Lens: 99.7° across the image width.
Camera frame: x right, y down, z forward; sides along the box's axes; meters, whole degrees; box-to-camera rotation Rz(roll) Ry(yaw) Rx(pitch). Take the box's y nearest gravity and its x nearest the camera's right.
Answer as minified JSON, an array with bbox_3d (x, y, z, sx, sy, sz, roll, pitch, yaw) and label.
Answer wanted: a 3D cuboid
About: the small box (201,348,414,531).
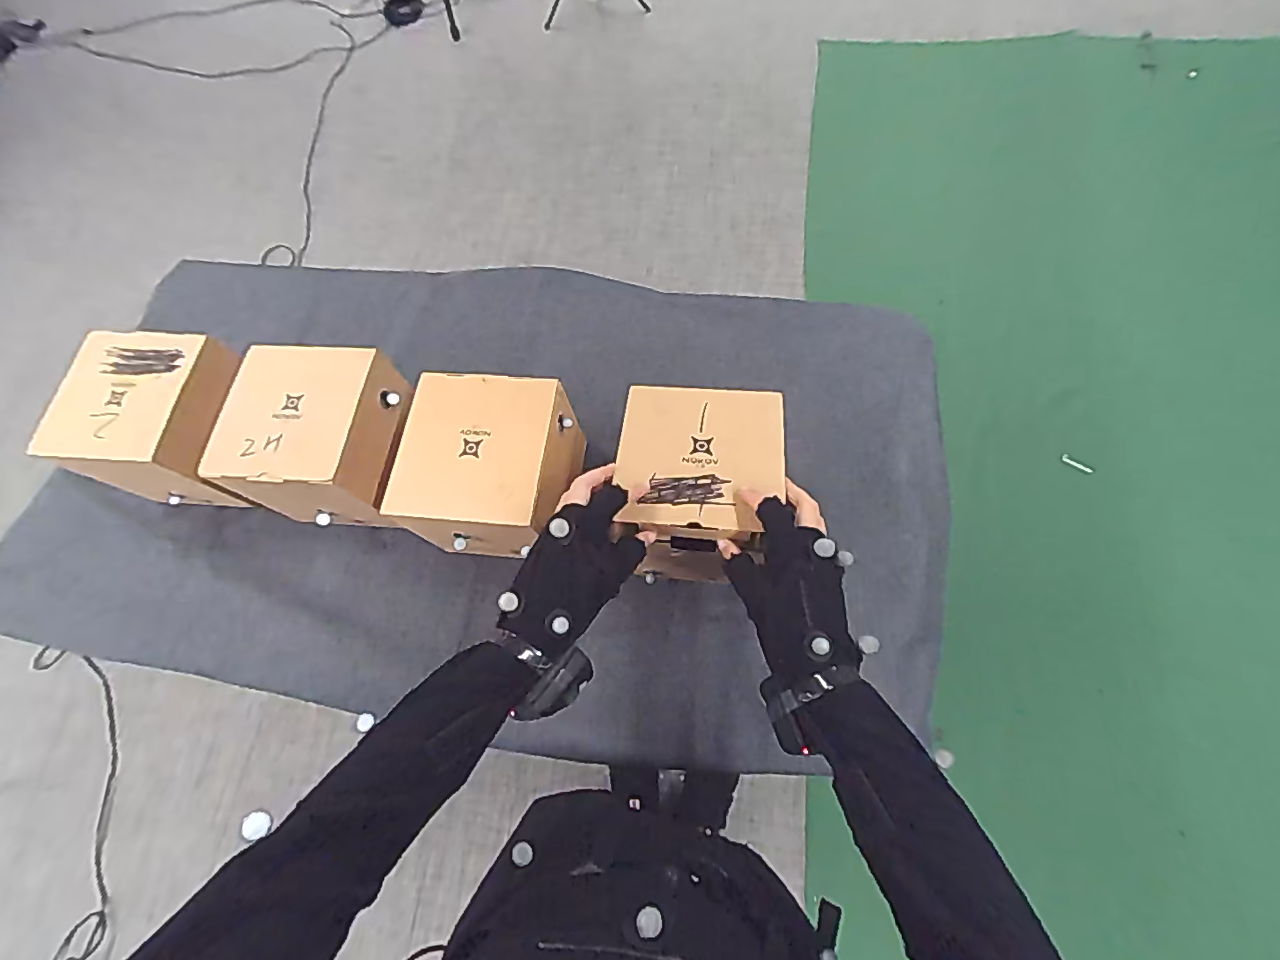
[{"bbox_3d":[-0.392,-0.047,0.693,0.168,0.176,0.179,3,68,7],"label":"small box"}]

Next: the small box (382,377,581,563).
[{"bbox_3d":[-0.174,-0.005,0.658,0.168,0.176,0.179,4,68,7],"label":"small box"}]

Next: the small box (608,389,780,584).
[{"bbox_3d":[0.066,0.016,0.625,0.168,0.176,0.179,4,67,7],"label":"small box"}]
